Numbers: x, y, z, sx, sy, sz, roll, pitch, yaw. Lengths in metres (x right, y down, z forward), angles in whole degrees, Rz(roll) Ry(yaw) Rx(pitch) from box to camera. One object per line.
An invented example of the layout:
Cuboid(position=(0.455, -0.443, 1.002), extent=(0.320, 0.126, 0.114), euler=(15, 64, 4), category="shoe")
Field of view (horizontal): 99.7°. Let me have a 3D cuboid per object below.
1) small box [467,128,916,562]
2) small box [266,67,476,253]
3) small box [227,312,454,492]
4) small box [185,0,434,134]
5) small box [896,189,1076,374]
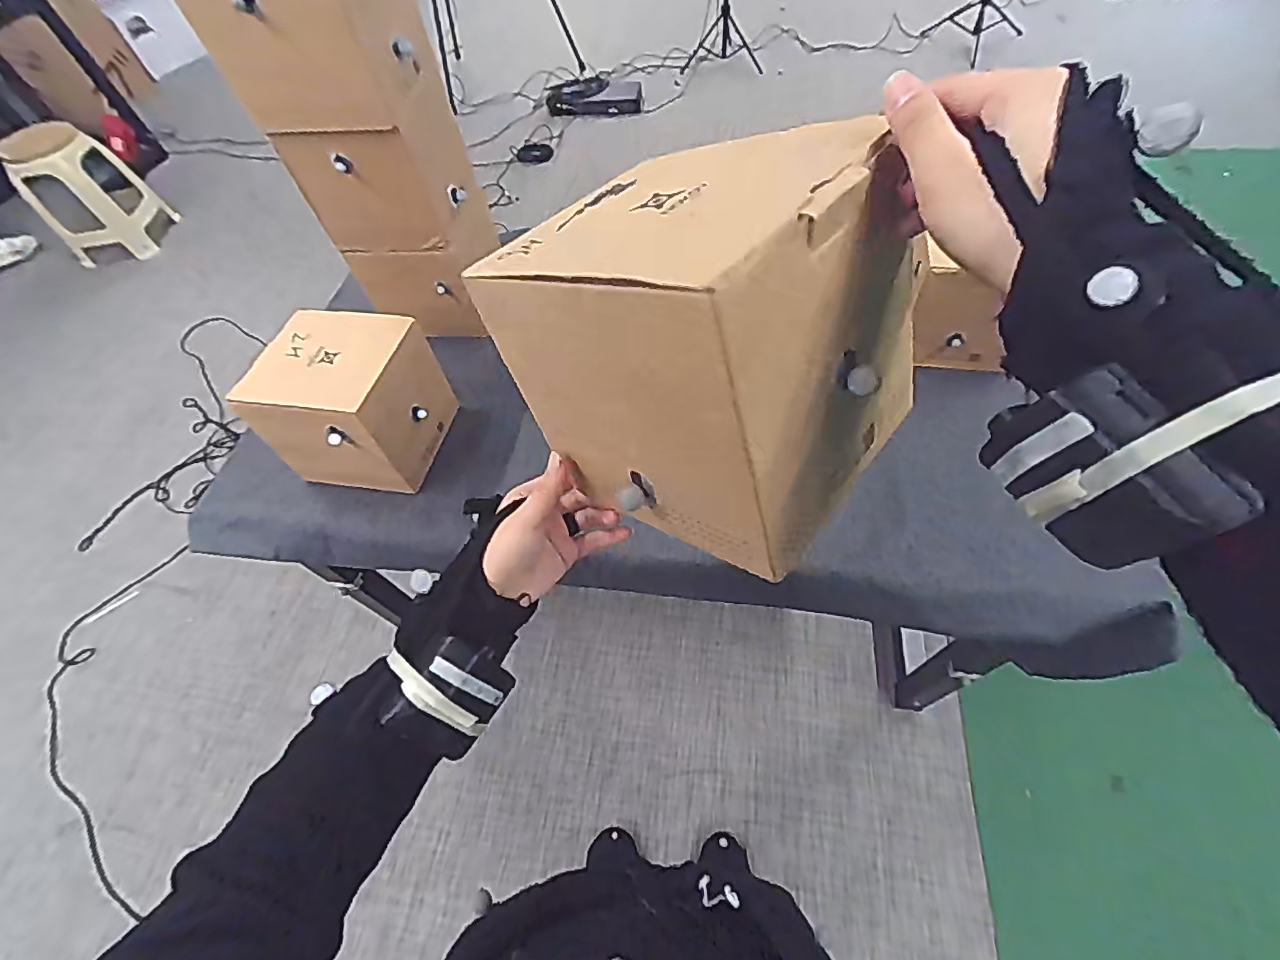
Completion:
Cuboid(position=(0.040, -0.077, 0.323), extent=(0.179, 0.176, 0.168), euler=(22, 55, 41), category="small box")
Cuboid(position=(-0.352, -0.435, 0.747), extent=(0.179, 0.176, 0.168), euler=(2, 60, 5), category="small box")
Cuboid(position=(-0.378, -0.099, 0.724), extent=(0.179, 0.176, 0.168), euler=(6, 56, 9), category="small box")
Cuboid(position=(-0.363, -0.513, 0.602), extent=(0.179, 0.176, 0.168), euler=(3, 60, 7), category="small box")
Cuboid(position=(0.453, -0.275, 0.755), extent=(0.168, 0.176, 0.179), euler=(6, 60, 10), category="small box")
